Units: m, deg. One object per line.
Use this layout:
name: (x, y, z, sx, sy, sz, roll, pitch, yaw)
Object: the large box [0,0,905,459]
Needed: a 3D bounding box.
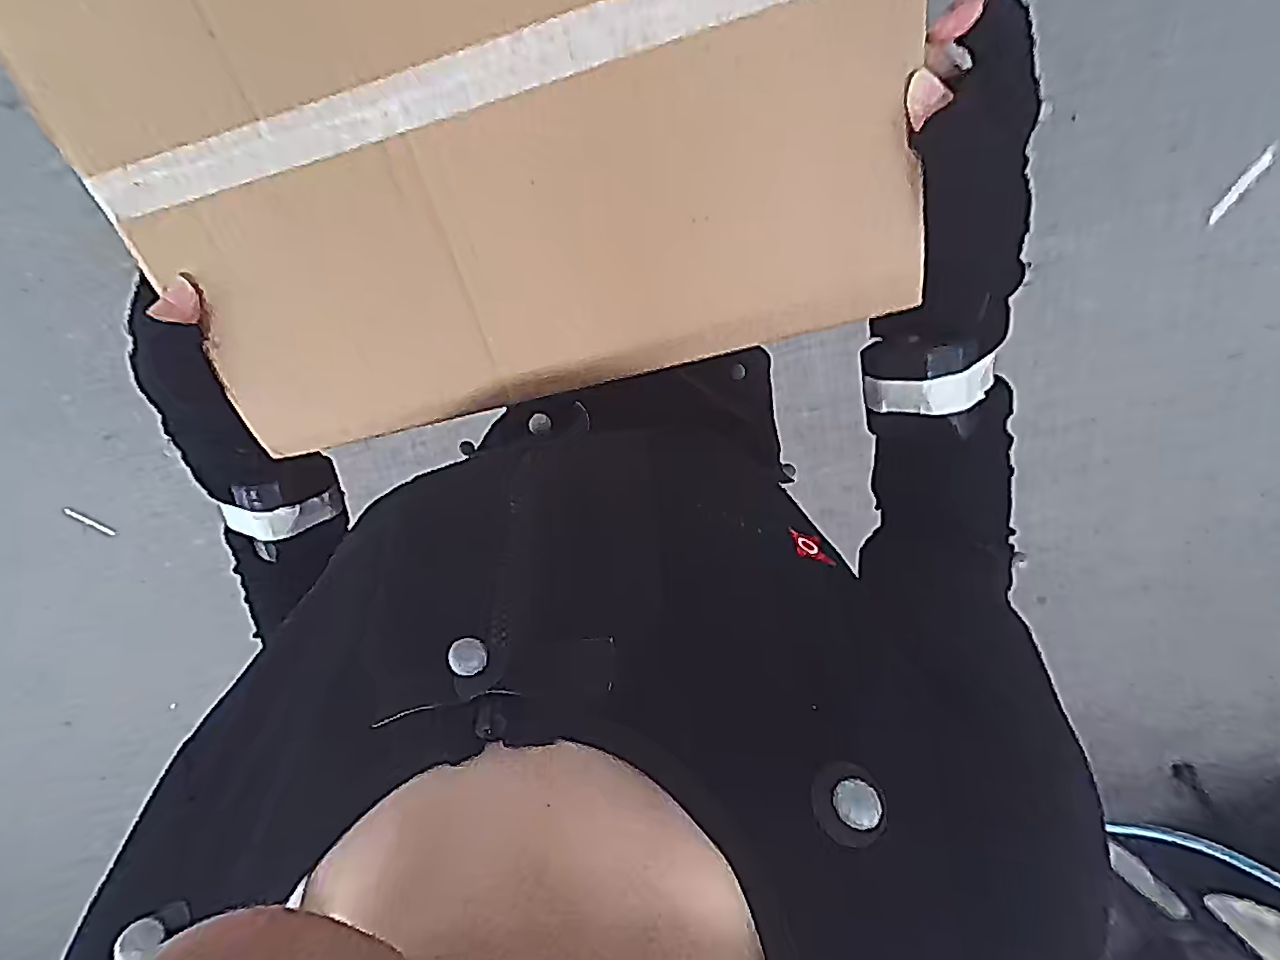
large box: (-0.075, -0.258, 0.391, 0.408, 0.320, 0.320, -12, 118, 8)
